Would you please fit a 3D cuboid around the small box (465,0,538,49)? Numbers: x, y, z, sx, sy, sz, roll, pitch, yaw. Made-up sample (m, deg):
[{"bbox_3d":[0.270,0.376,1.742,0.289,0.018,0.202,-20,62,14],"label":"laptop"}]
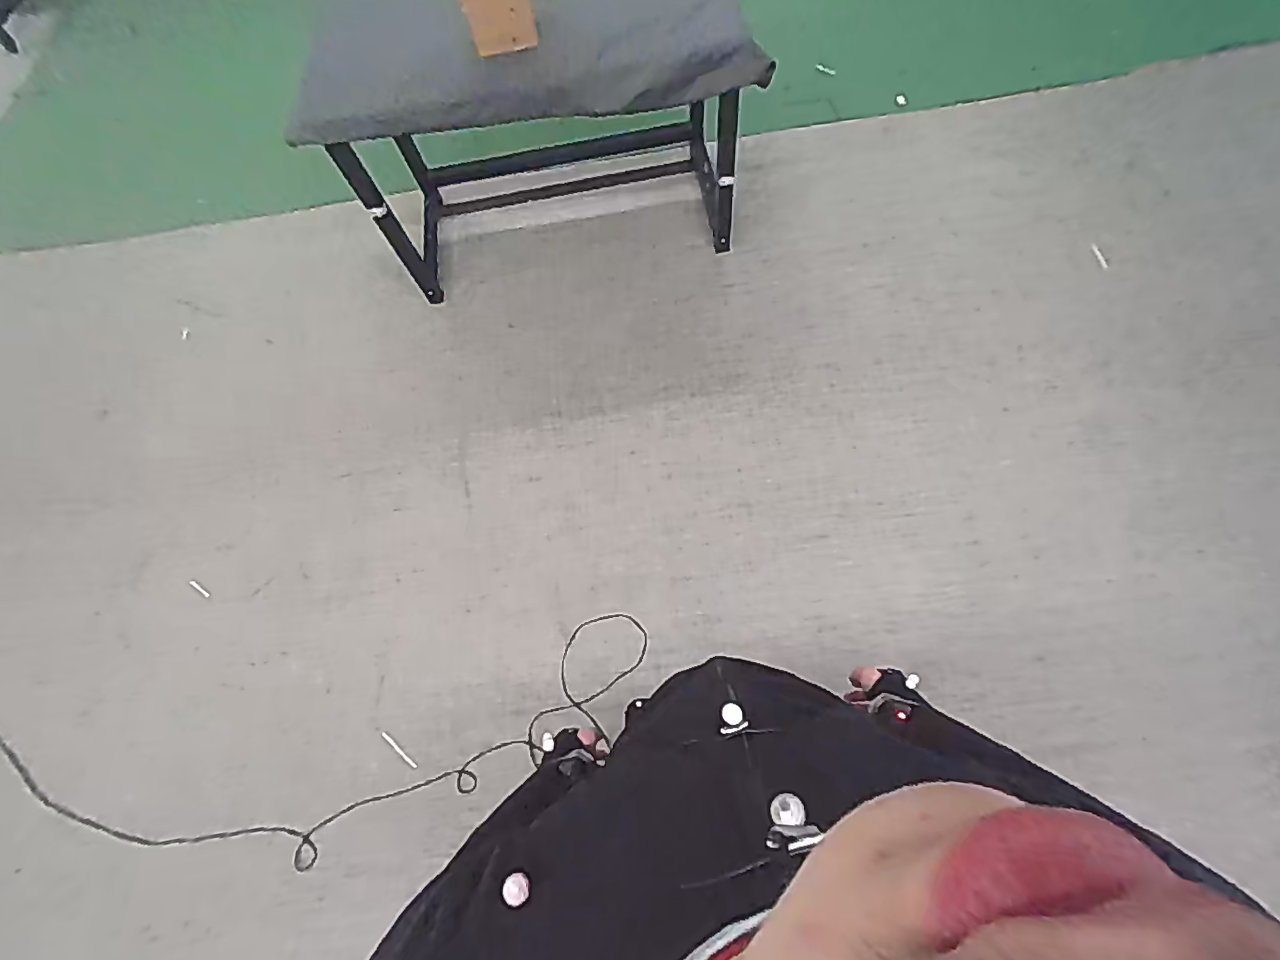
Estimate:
[{"bbox_3d":[-0.371,-1.282,1.432,0.168,0.176,0.179,-9,67,0],"label":"small box"}]
